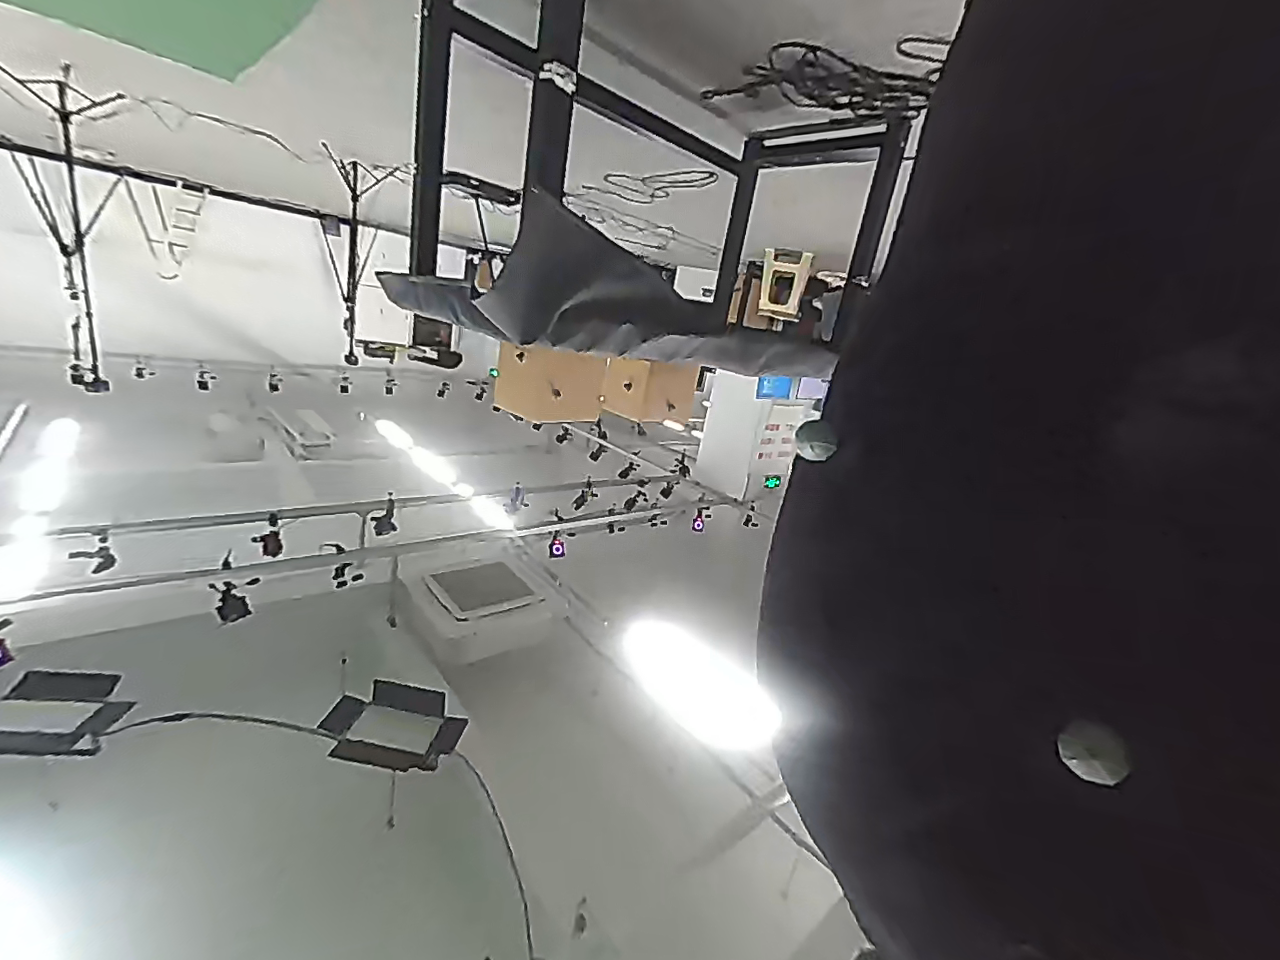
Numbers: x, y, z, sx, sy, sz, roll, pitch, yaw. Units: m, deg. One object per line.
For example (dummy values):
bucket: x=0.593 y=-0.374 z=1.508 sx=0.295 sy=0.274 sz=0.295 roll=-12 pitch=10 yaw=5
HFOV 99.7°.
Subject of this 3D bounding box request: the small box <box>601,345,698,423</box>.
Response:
small box: x=0.023 y=-0.249 z=1.389 sx=0.179 sy=0.176 sz=0.168 roll=-5 pitch=-157 yaw=-40
